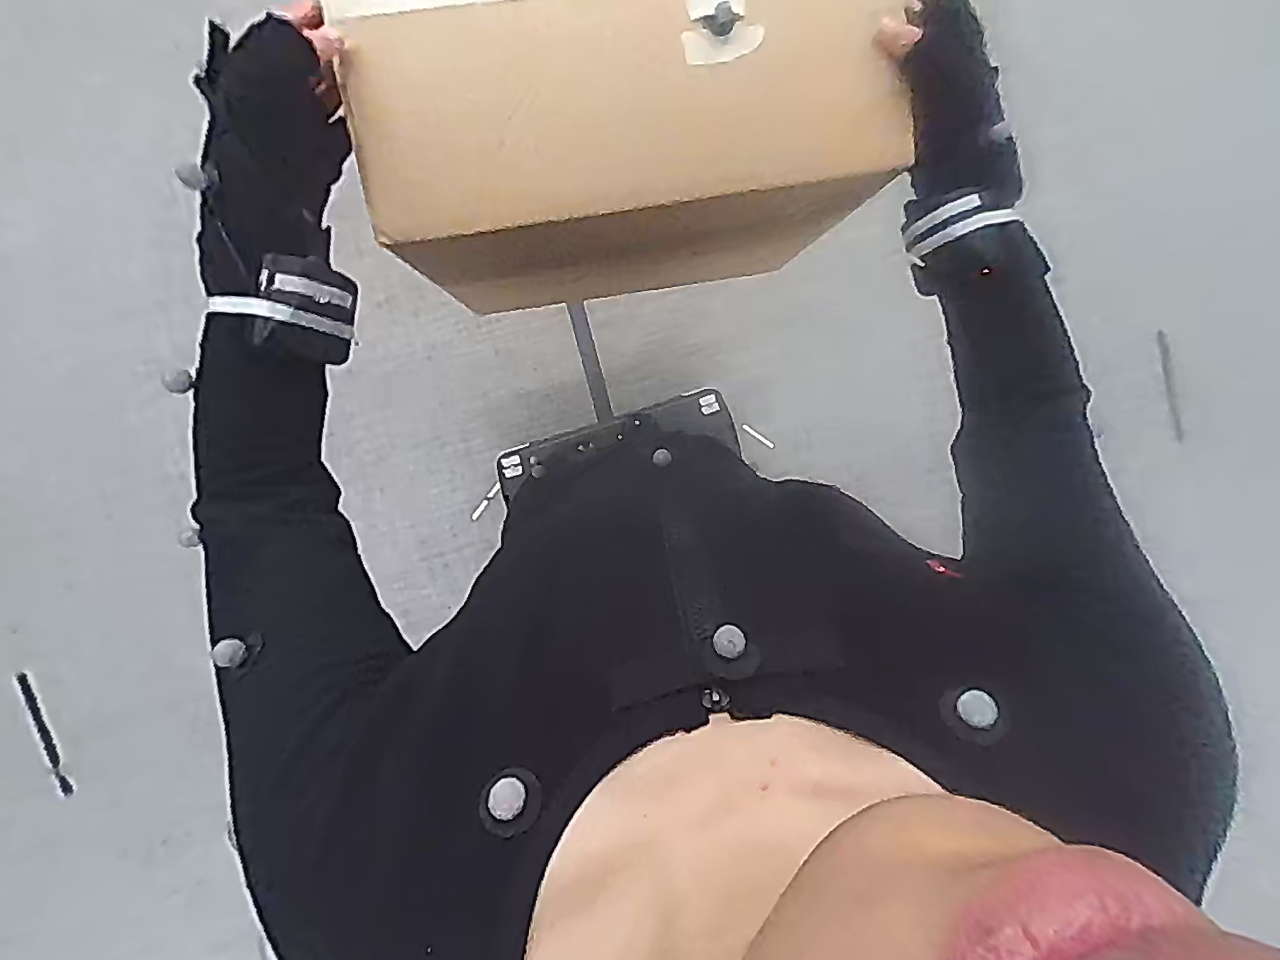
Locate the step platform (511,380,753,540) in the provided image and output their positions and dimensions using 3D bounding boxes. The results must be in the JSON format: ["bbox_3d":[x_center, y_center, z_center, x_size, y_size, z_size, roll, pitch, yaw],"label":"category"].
[{"bbox_3d":[-0.022,-0.063,1.578,0.684,0.204,0.286,-19,97,-4],"label":"step platform"}]

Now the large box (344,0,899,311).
[{"bbox_3d":[-0.028,-0.382,0.541,0.408,0.320,0.320,-10,99,-3],"label":"large box"}]
